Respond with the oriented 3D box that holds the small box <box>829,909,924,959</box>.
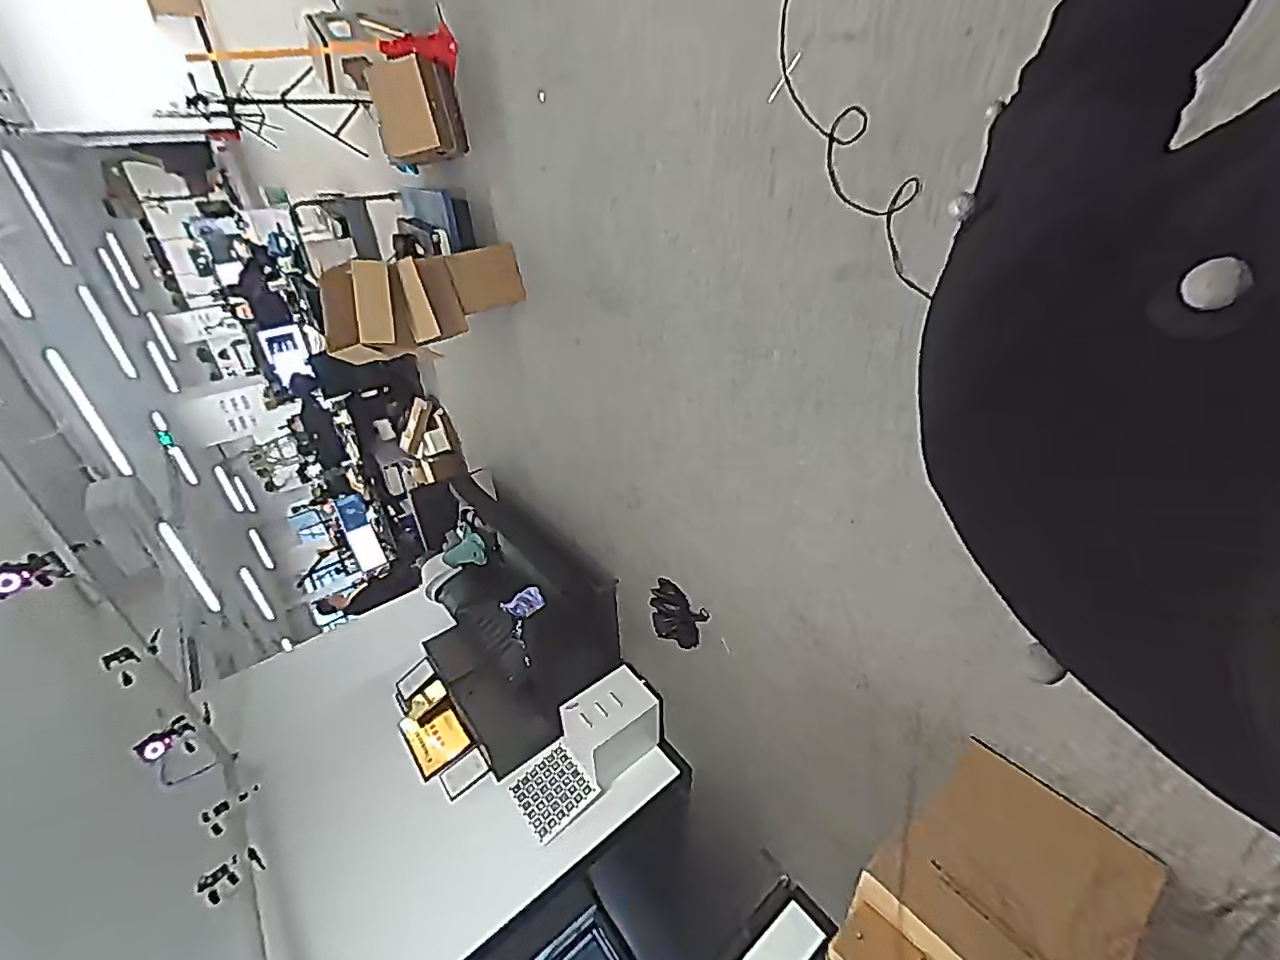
[{"bbox_3d":[0.635,1.319,1.463,0.179,0.176,0.168,21,127,48],"label":"small box"}]
